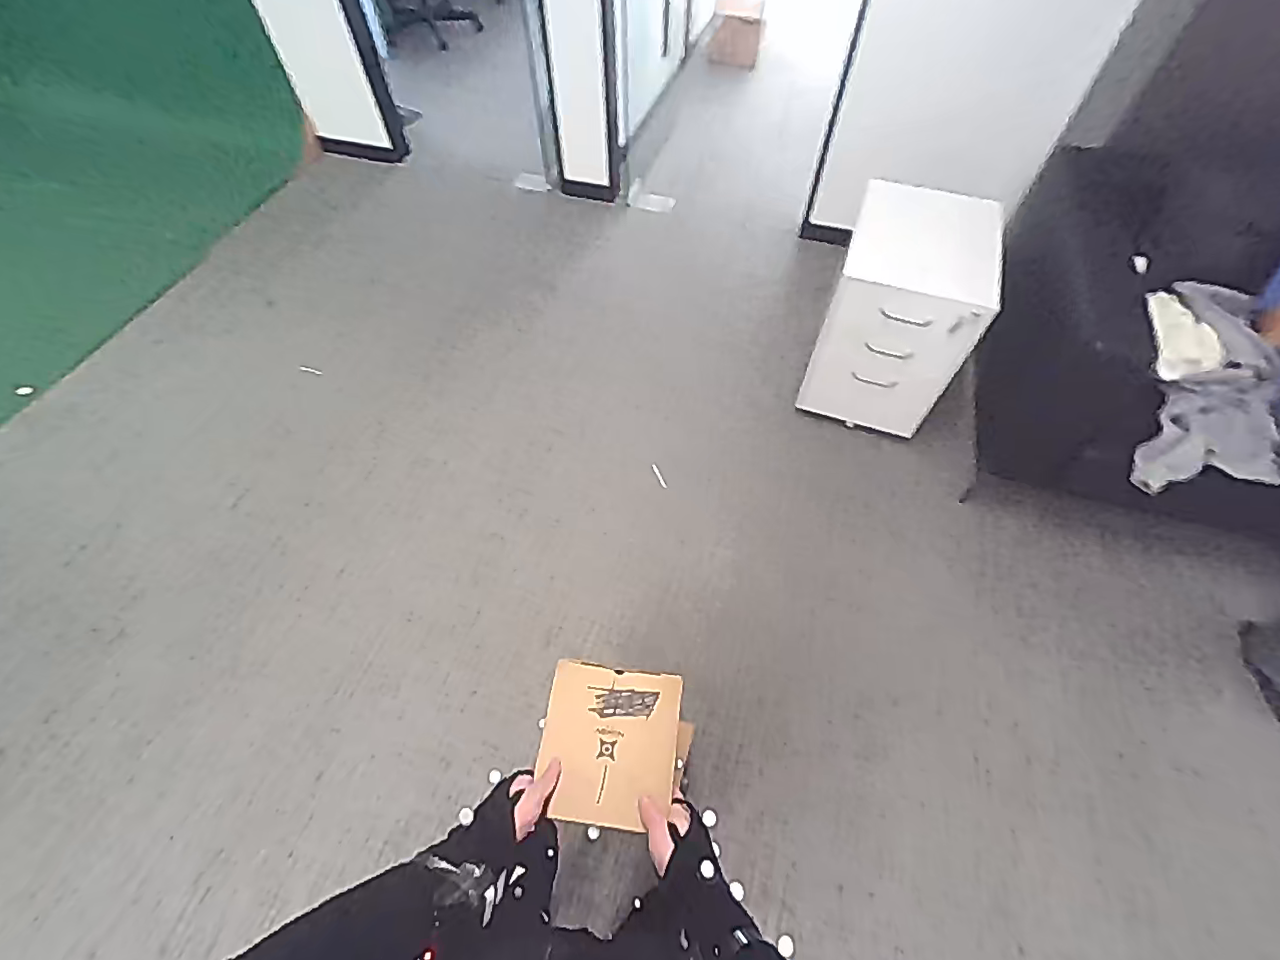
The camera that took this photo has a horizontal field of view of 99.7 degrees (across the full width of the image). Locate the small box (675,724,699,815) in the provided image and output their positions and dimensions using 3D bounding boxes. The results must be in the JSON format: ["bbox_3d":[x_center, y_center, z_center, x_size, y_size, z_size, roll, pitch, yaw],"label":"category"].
[{"bbox_3d":[0.013,0.598,1.147,0.179,0.176,0.168,16,57,9],"label":"small box"}]

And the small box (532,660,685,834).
[{"bbox_3d":[-0.036,0.358,0.720,0.168,0.176,0.179,6,58,2],"label":"small box"}]
